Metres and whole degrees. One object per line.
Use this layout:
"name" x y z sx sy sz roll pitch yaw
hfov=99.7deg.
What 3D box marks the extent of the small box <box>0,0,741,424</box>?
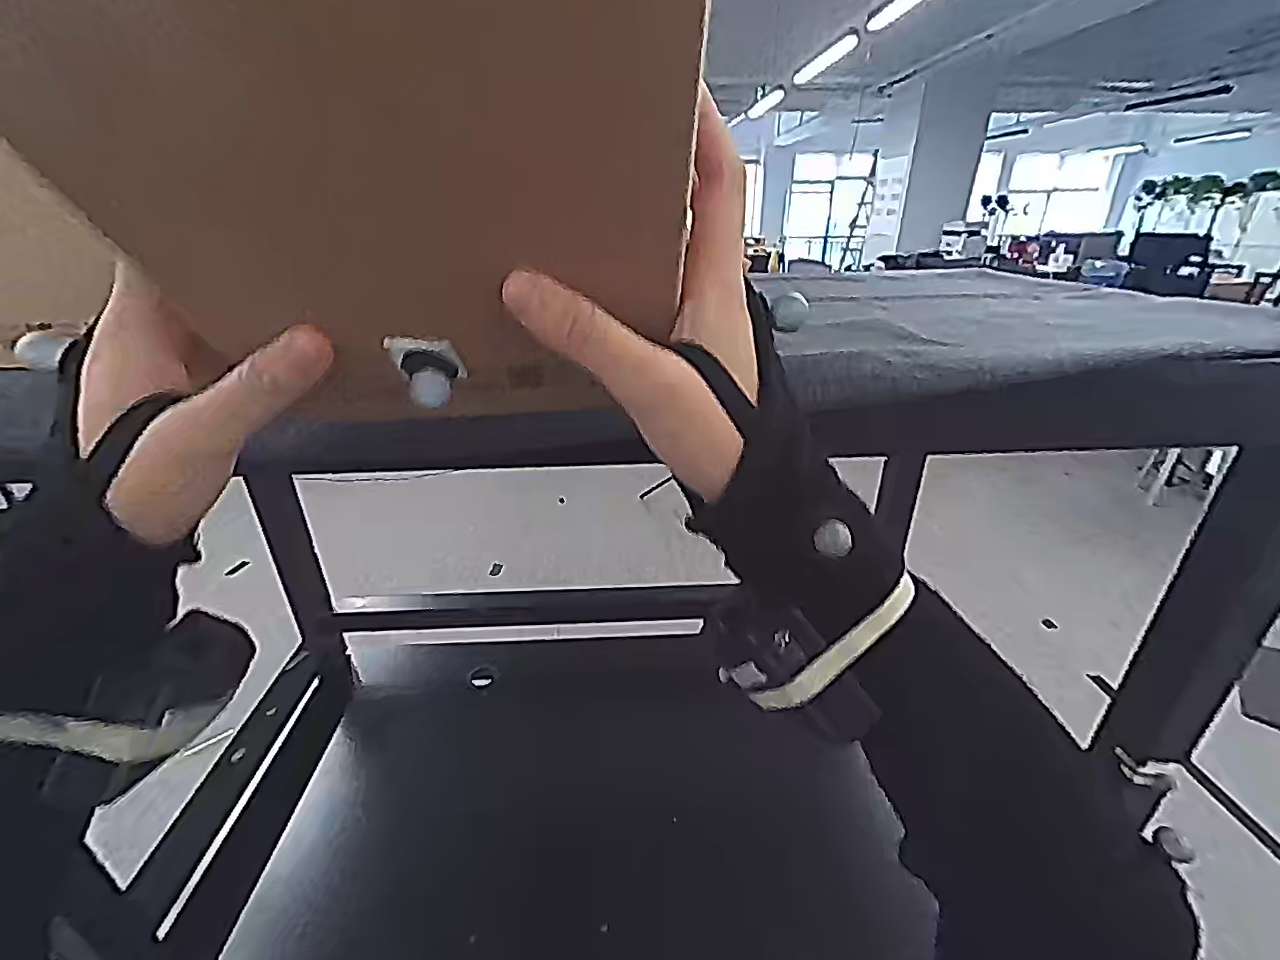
"small box" -0.067 -0.142 0.207 0.168 0.176 0.179 -5 64 -2
